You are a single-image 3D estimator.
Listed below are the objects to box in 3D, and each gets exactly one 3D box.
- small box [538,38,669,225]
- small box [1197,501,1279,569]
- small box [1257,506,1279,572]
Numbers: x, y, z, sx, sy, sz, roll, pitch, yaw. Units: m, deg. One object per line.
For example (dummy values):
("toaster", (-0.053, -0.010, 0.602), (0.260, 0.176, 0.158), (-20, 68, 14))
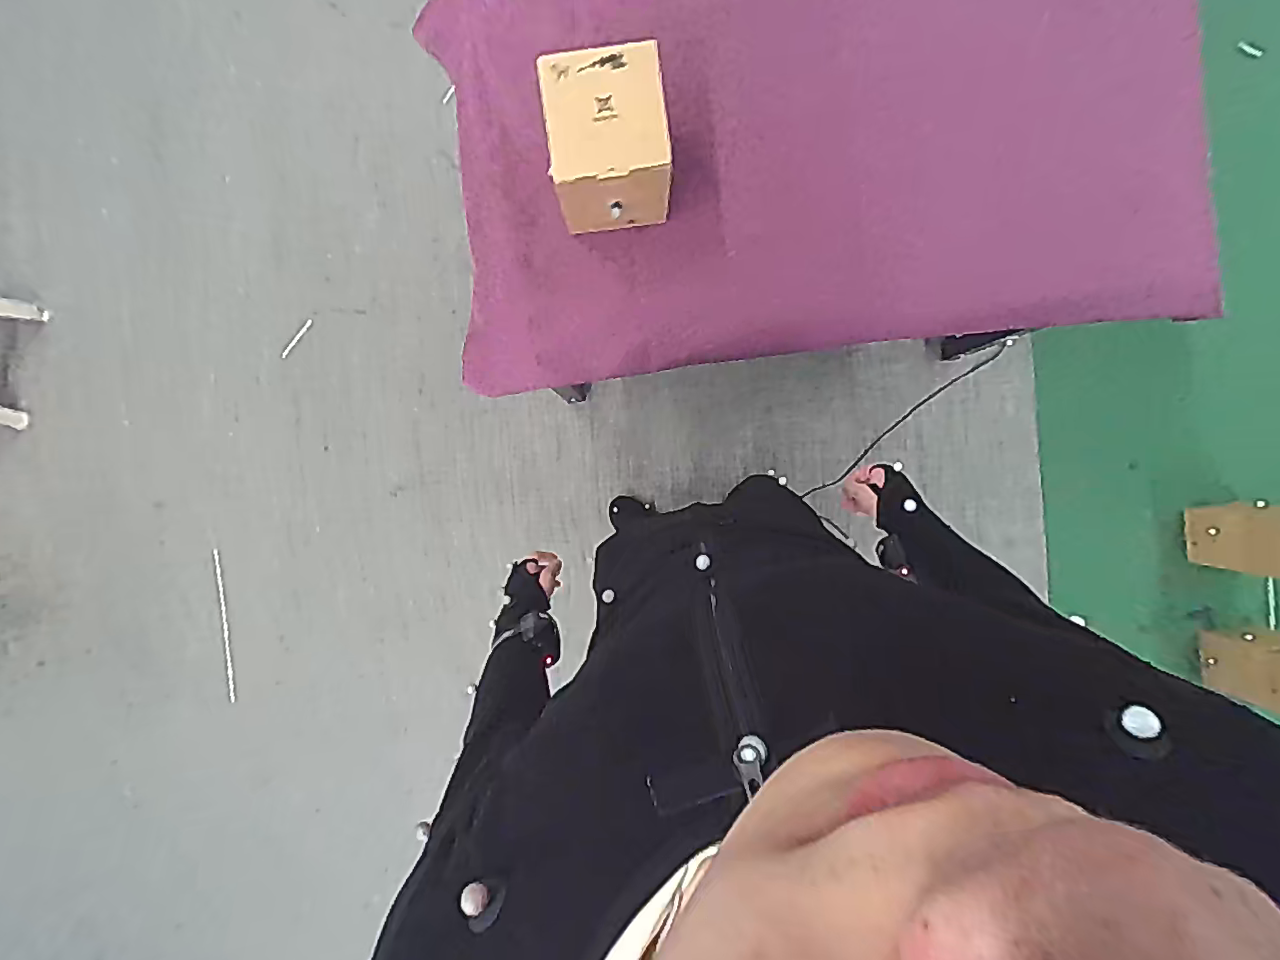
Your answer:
("small box", (-0.047, -0.504, 0.813), (0.168, 0.176, 0.179), (-7, 92, 1))
("small box", (1.717, 0.149, 1.509), (0.179, 0.176, 0.168), (-6, 90, 1))
("small box", (1.709, 0.149, 1.344), (0.168, 0.176, 0.179), (-7, 91, 1))
